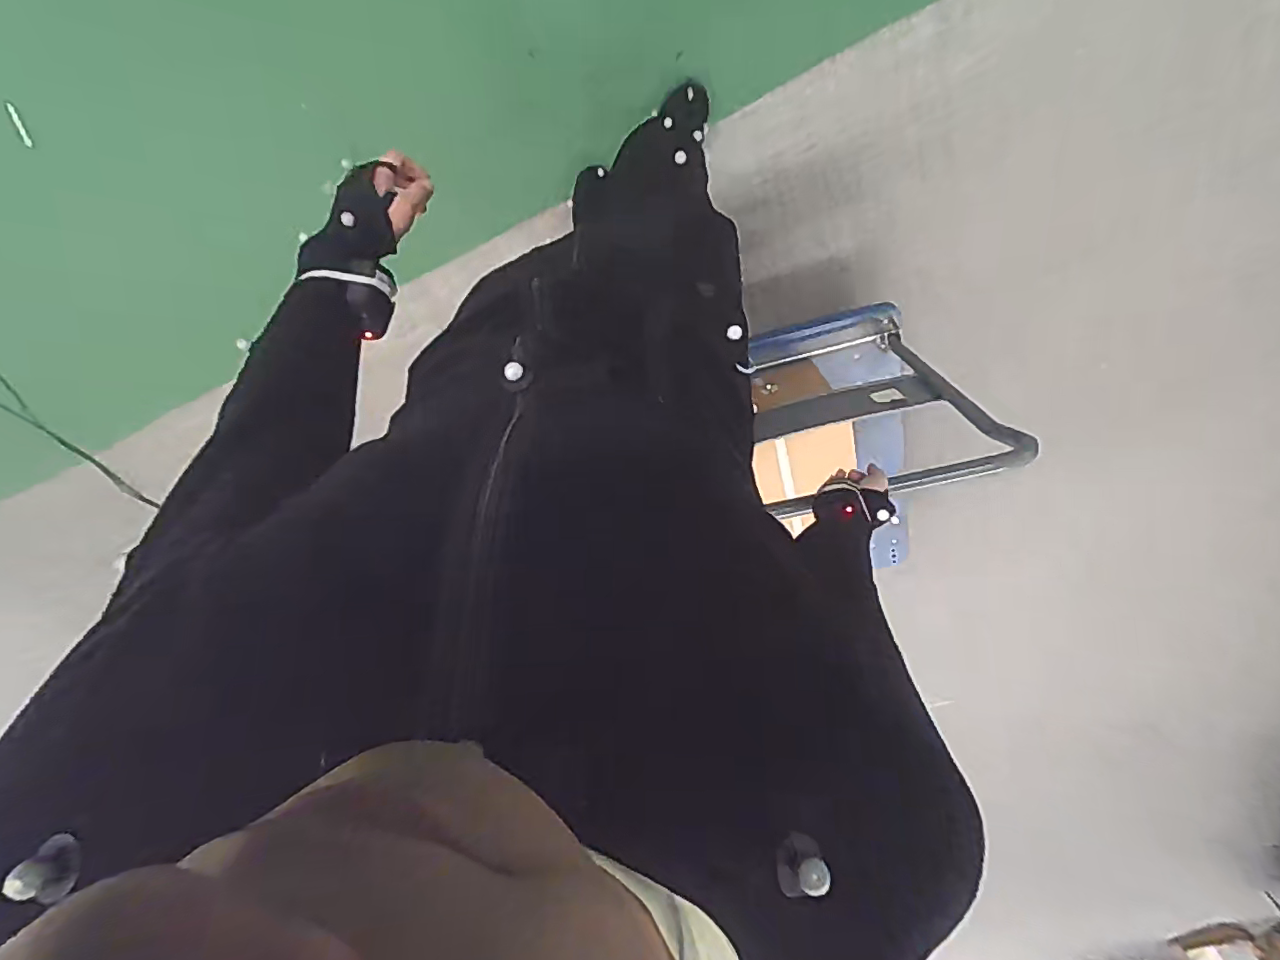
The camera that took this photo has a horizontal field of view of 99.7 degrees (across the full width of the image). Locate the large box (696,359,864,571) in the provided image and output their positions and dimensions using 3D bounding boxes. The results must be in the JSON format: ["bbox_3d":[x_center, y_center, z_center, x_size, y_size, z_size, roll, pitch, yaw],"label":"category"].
[{"bbox_3d":[0.354,-0.040,1.397,0.320,0.320,0.408,-14,123,10],"label":"large box"}]
